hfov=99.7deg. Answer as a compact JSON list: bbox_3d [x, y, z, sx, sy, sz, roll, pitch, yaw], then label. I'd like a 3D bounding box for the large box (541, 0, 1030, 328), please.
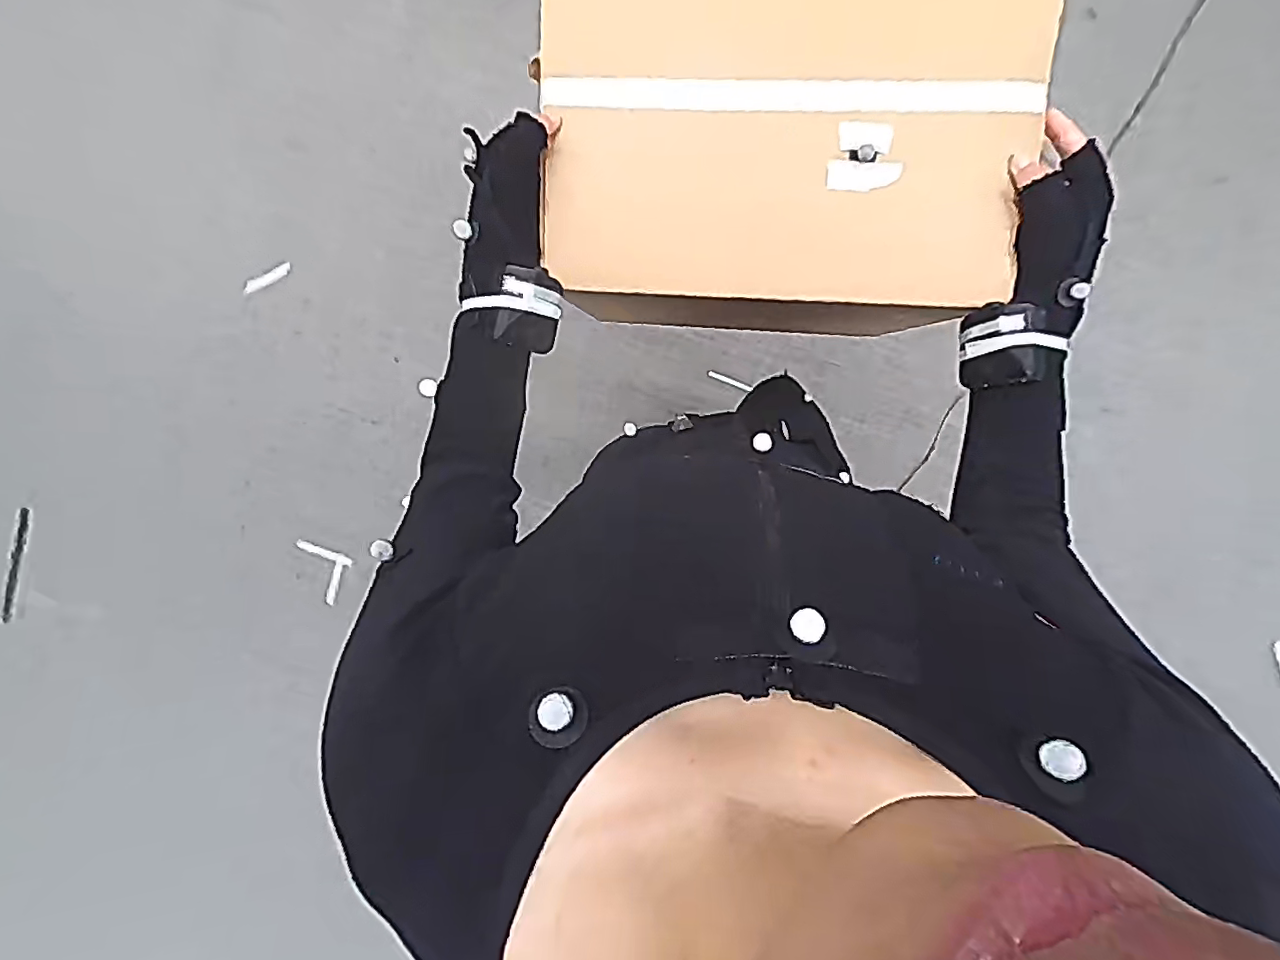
[{"bbox_3d":[0.121,-0.345,0.606,0.408,0.320,0.320,3,101,3],"label":"large box"}]
